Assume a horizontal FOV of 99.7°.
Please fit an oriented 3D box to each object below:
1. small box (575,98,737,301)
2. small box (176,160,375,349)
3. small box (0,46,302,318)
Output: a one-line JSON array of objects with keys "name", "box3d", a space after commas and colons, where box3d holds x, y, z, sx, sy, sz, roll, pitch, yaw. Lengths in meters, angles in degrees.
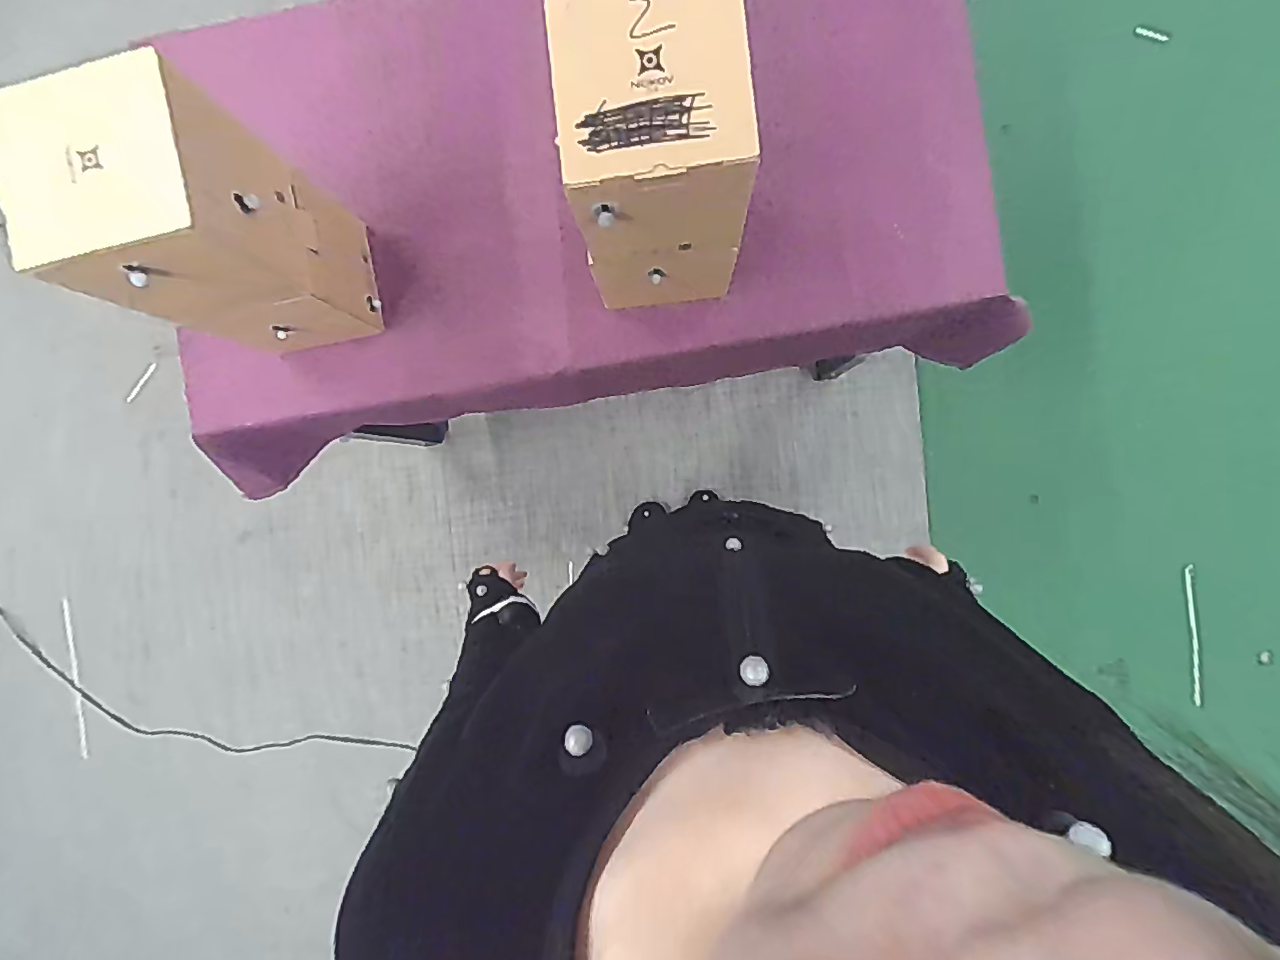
[{"name": "small box", "box3d": [0.023, -0.339, 0.688, 0.179, 0.176, 0.168, -5, 91, 4]}, {"name": "small box", "box3d": [-0.480, -0.285, 0.720, 0.179, 0.176, 0.168, -11, 90, 5]}, {"name": "small box", "box3d": [-0.485, -0.284, 0.557, 0.179, 0.176, 0.168, -12, 90, 4]}]
